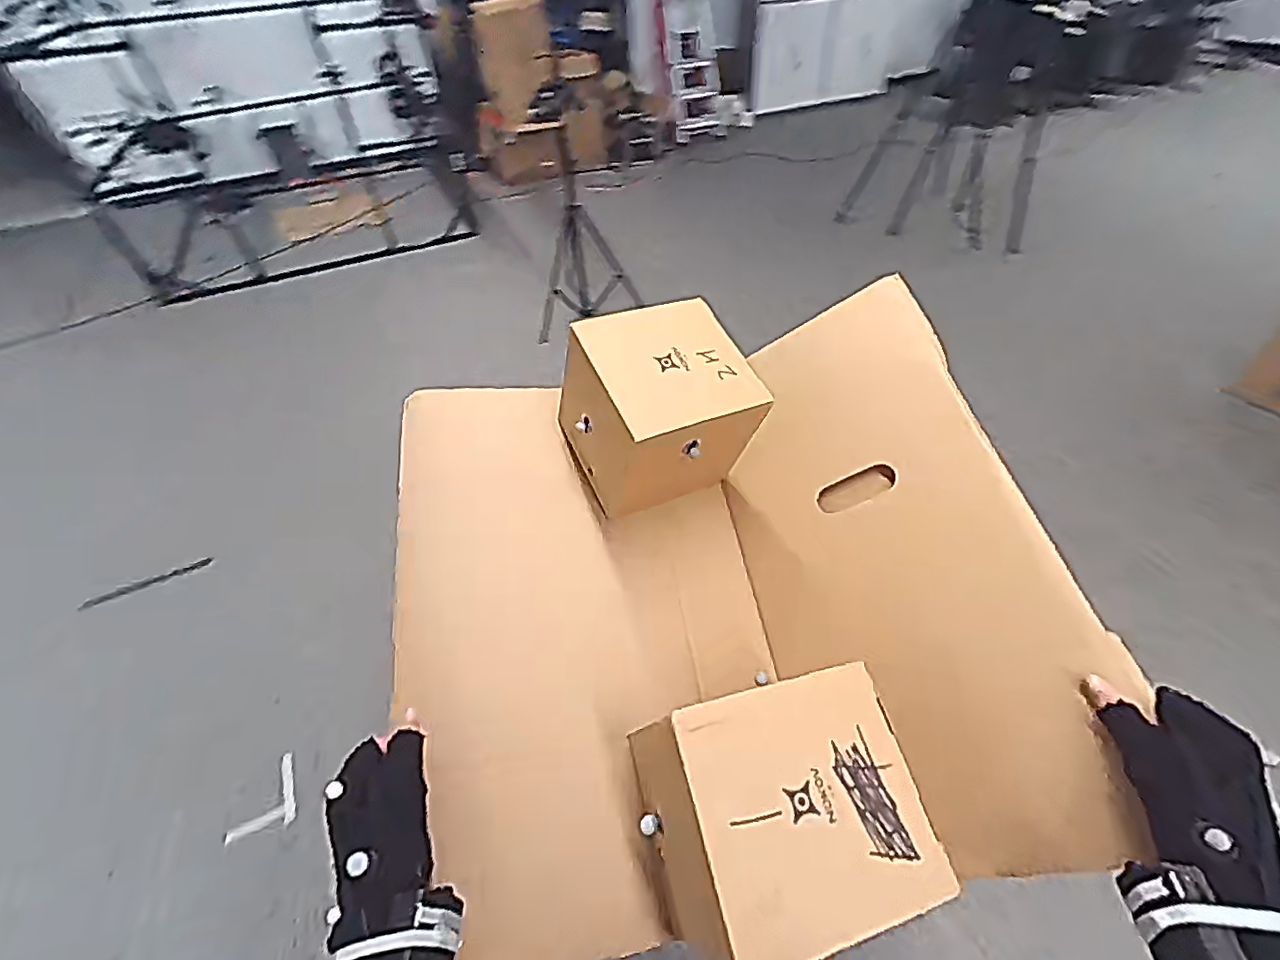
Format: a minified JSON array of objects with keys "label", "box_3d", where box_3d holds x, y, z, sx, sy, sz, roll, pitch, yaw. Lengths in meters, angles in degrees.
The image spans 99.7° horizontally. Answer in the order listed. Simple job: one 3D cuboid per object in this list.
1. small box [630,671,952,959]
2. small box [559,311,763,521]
[{"label":"small box","box_3d":[0.106,0.278,0.460,0.179,0.176,0.168,-8,62,-18]},{"label":"small box","box_3d":[0.009,-0.072,0.652,0.179,0.176,0.168,-18,65,-24]}]
